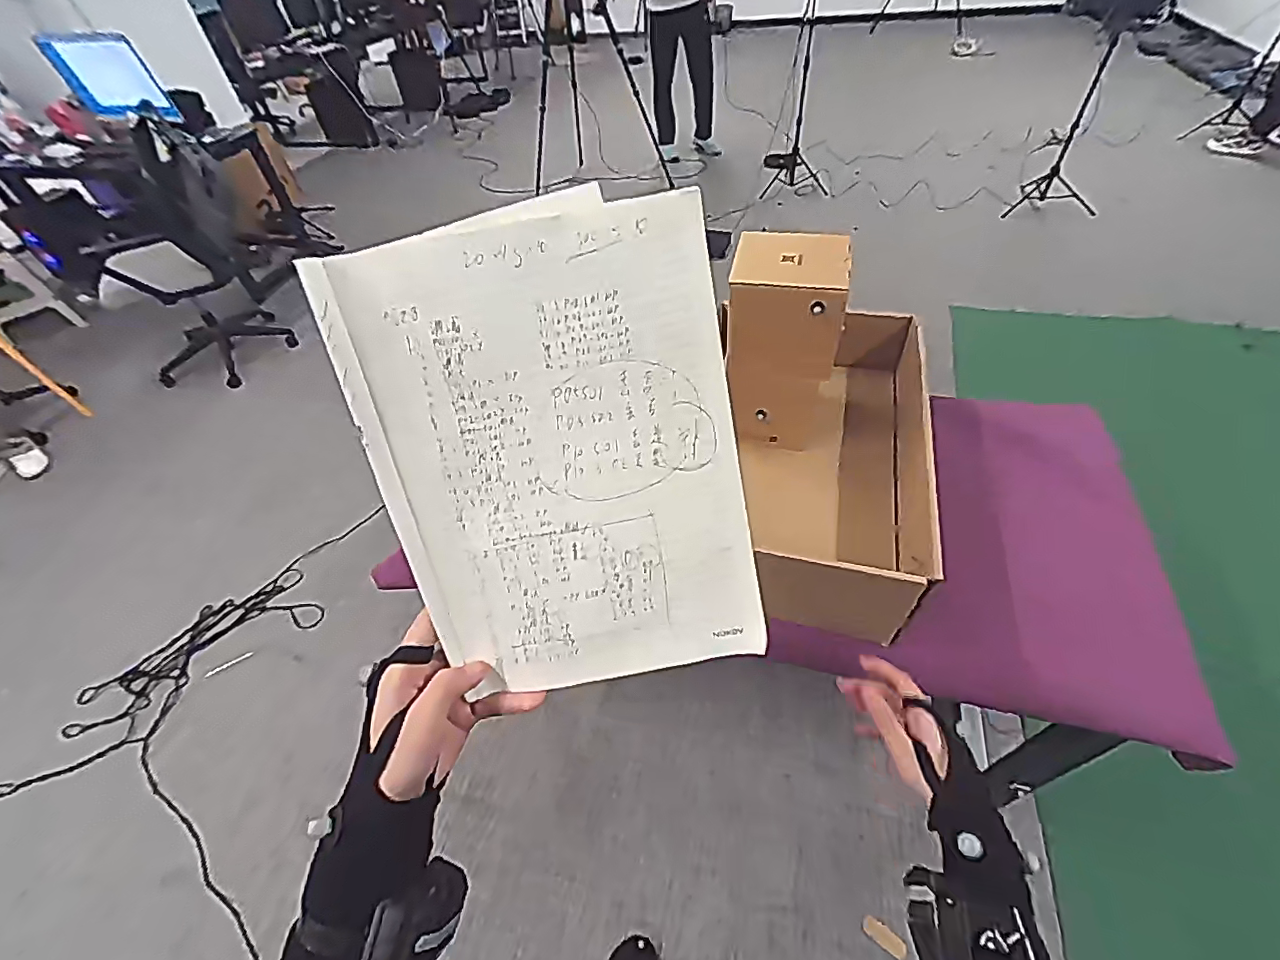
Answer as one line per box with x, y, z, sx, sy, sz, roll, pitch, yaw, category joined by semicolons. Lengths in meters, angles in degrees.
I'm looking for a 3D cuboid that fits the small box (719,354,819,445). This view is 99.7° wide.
0.246;-0.188;1.015;0.168;0.176;0.179;10;52;14;small box

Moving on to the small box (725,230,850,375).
0.237;-0.291;0.890;0.179;0.176;0.168;8;51;13;small box
